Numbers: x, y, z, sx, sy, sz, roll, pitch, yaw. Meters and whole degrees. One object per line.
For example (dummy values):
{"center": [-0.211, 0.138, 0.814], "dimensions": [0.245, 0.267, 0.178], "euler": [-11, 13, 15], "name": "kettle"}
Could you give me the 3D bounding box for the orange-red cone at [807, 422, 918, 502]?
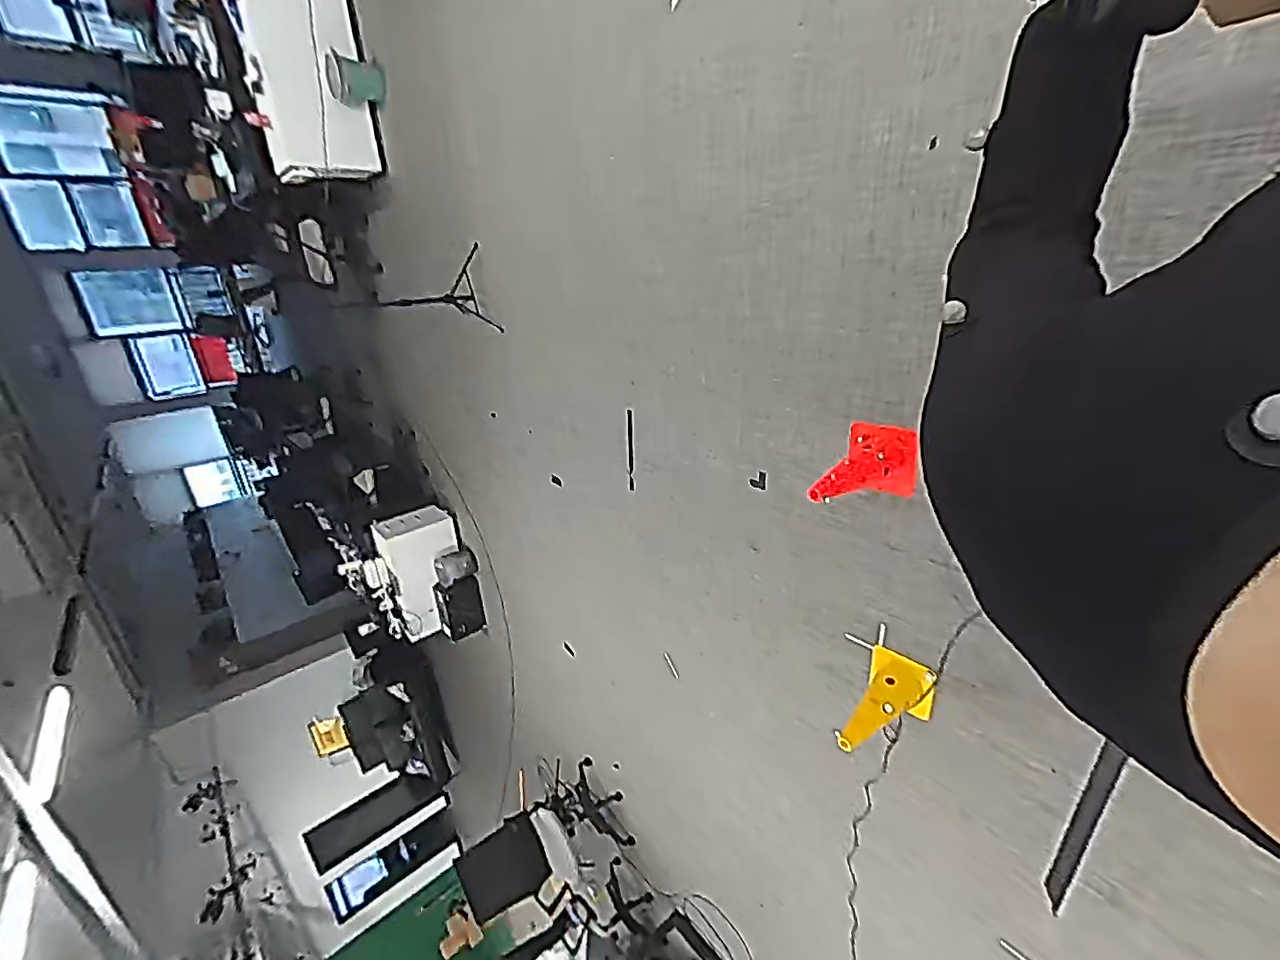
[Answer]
{"center": [0.578, -0.010, 1.480], "dimensions": [0.198, 0.360, 0.199], "euler": [20, 123, 47], "name": "orange-red cone"}
